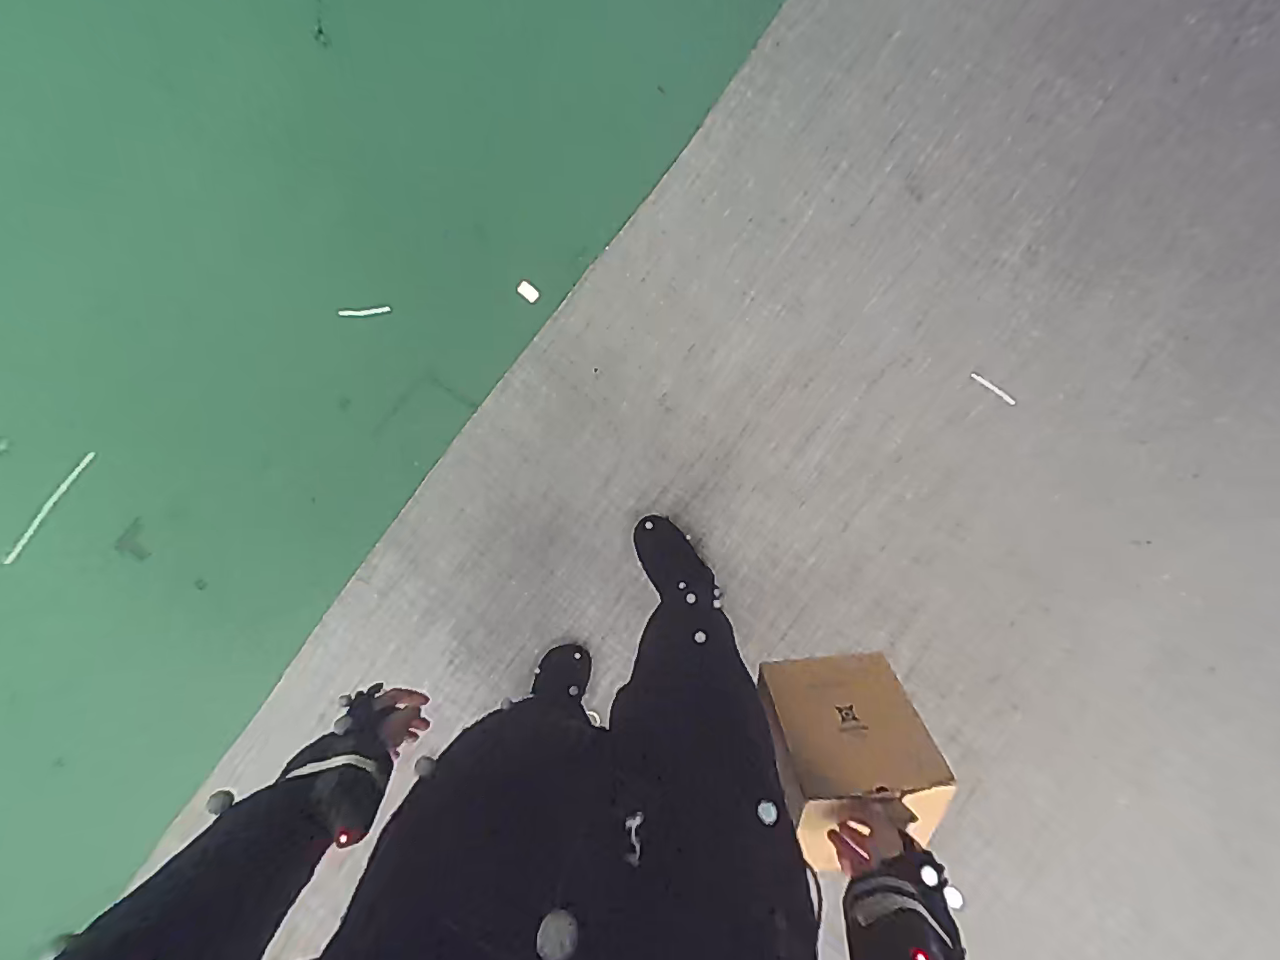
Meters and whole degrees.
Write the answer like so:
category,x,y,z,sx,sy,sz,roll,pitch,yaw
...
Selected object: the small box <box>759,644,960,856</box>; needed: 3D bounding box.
category,x,y,z,sx,sy,sz,roll,pitch,yaw
small box,0.249,0.331,0.664,0.168,0.179,0.176,-5,123,-2
